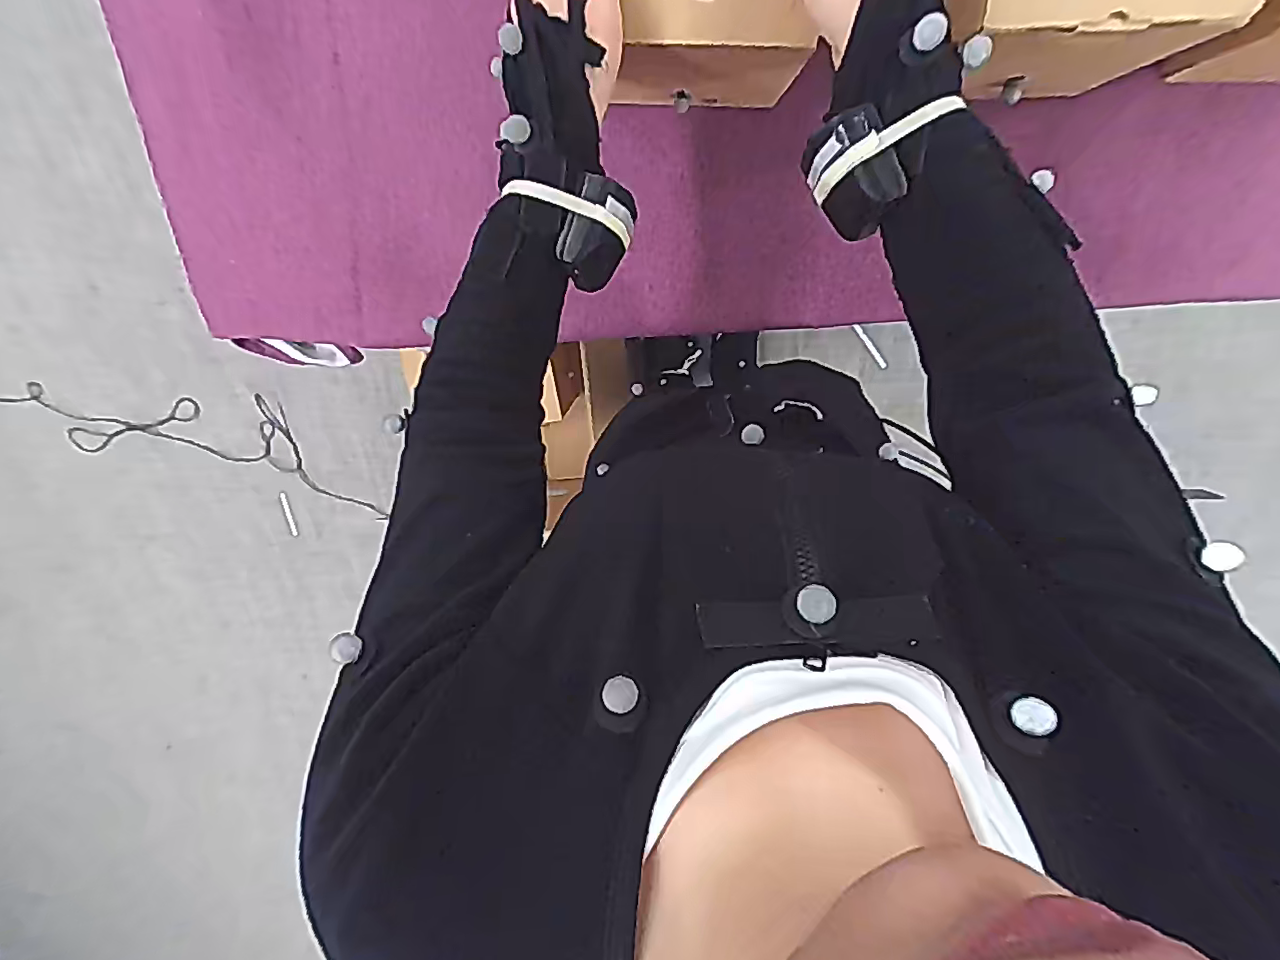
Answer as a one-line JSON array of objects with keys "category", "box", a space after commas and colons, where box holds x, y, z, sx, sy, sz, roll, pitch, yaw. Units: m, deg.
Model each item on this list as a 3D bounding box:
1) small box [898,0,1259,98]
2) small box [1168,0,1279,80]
[{"category": "small box", "box": [0.304, -0.399, 0.382, 0.168, 0.176, 0.179, 1, 112, 5]}, {"category": "small box", "box": [0.544, -0.398, 0.369, 0.179, 0.176, 0.168, 3, 112, 3]}]
